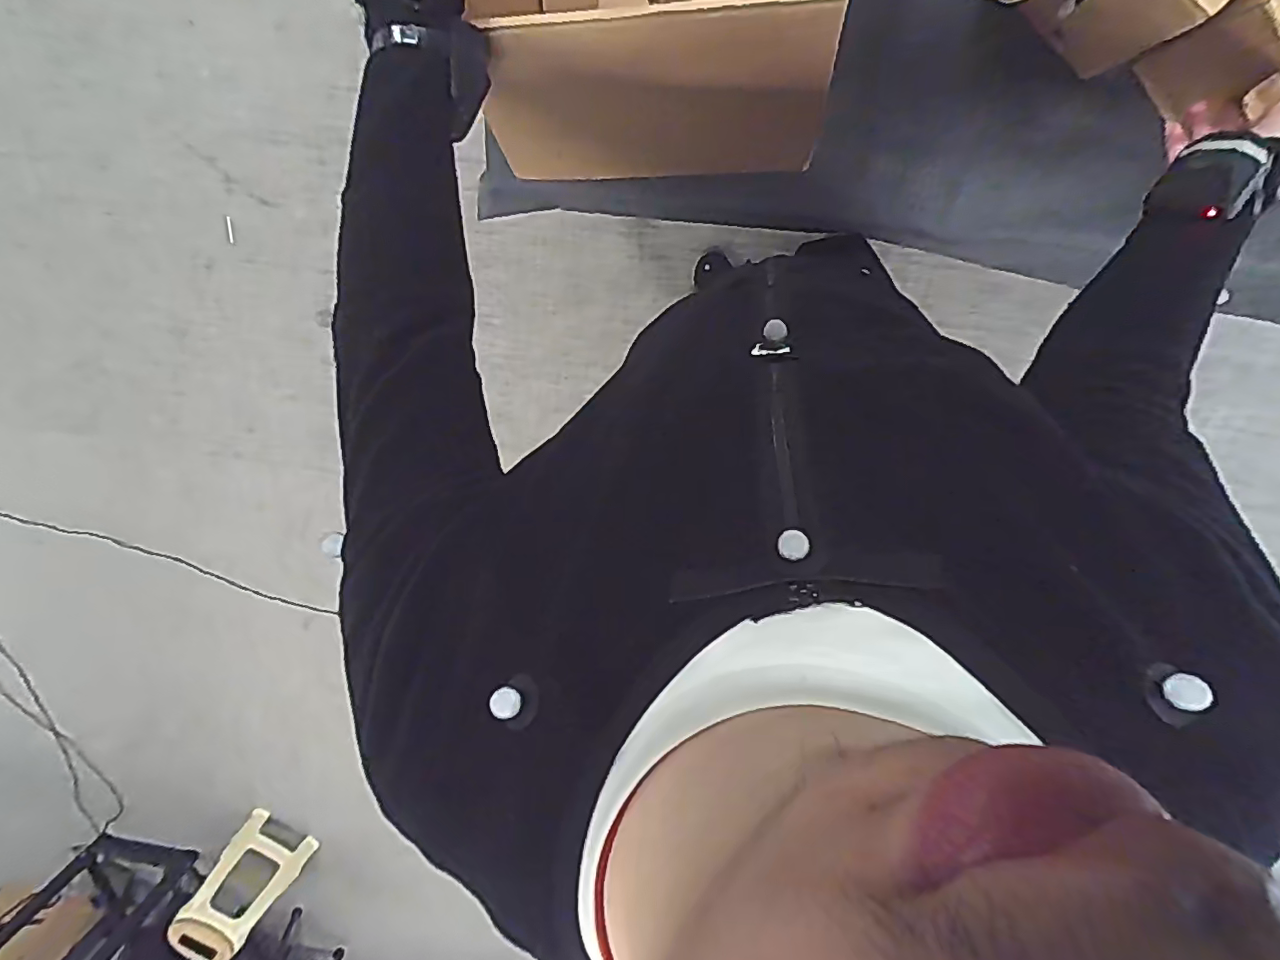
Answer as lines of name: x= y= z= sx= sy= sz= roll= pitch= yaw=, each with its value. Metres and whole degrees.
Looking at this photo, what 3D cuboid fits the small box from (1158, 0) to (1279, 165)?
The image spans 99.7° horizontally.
small box: x=0.635 y=-0.419 z=0.487 sx=0.168 sy=0.176 sz=0.179 roll=44 pitch=113 yaw=-11
